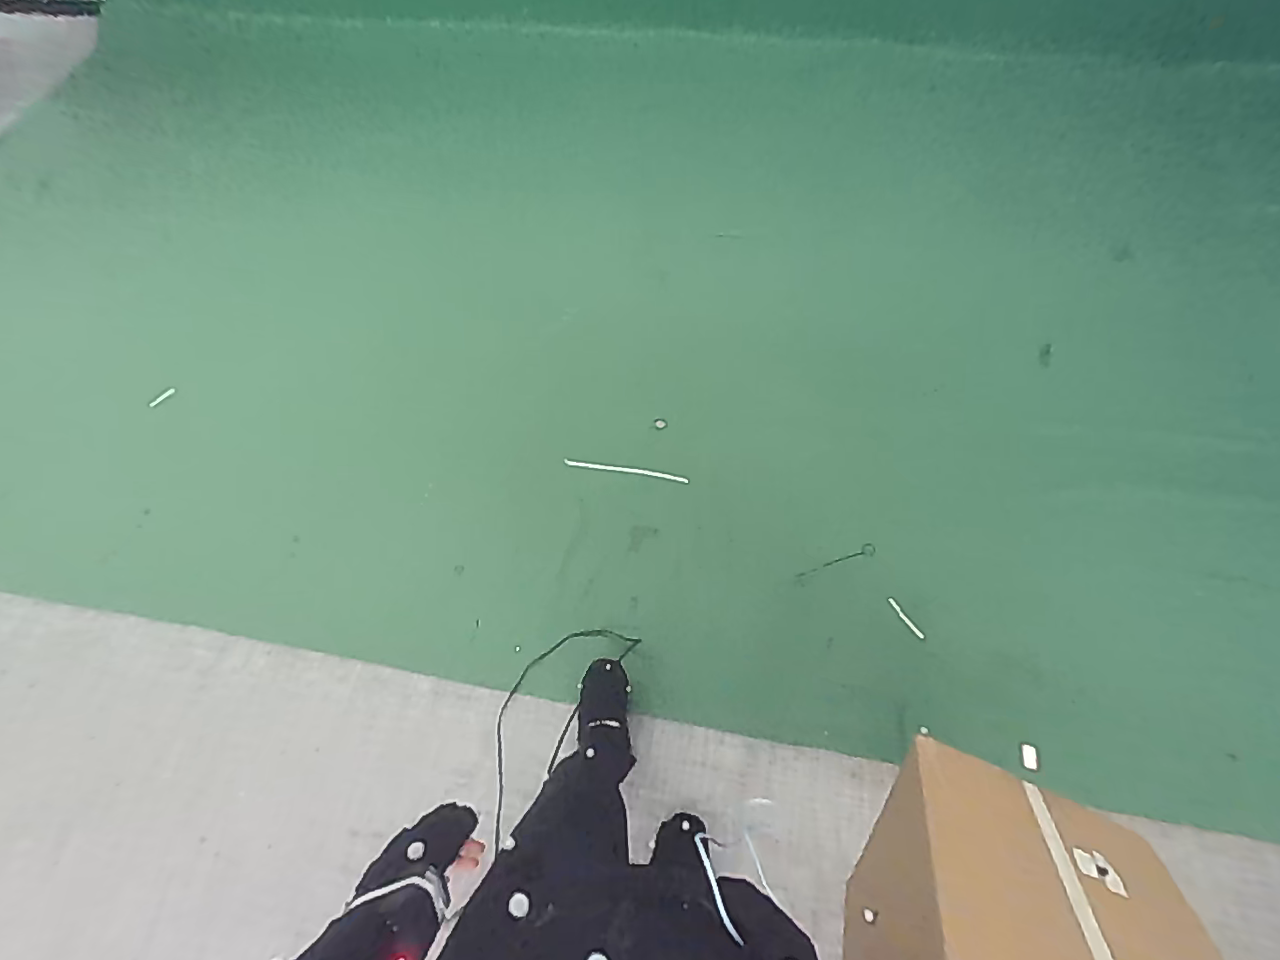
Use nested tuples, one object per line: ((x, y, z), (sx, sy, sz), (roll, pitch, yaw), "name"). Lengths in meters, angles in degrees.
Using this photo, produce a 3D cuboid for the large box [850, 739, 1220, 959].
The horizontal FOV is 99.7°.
((0.457, 0.621, 0.657), (0.320, 0.408, 0.320), (21, 104, 19), "large box")
